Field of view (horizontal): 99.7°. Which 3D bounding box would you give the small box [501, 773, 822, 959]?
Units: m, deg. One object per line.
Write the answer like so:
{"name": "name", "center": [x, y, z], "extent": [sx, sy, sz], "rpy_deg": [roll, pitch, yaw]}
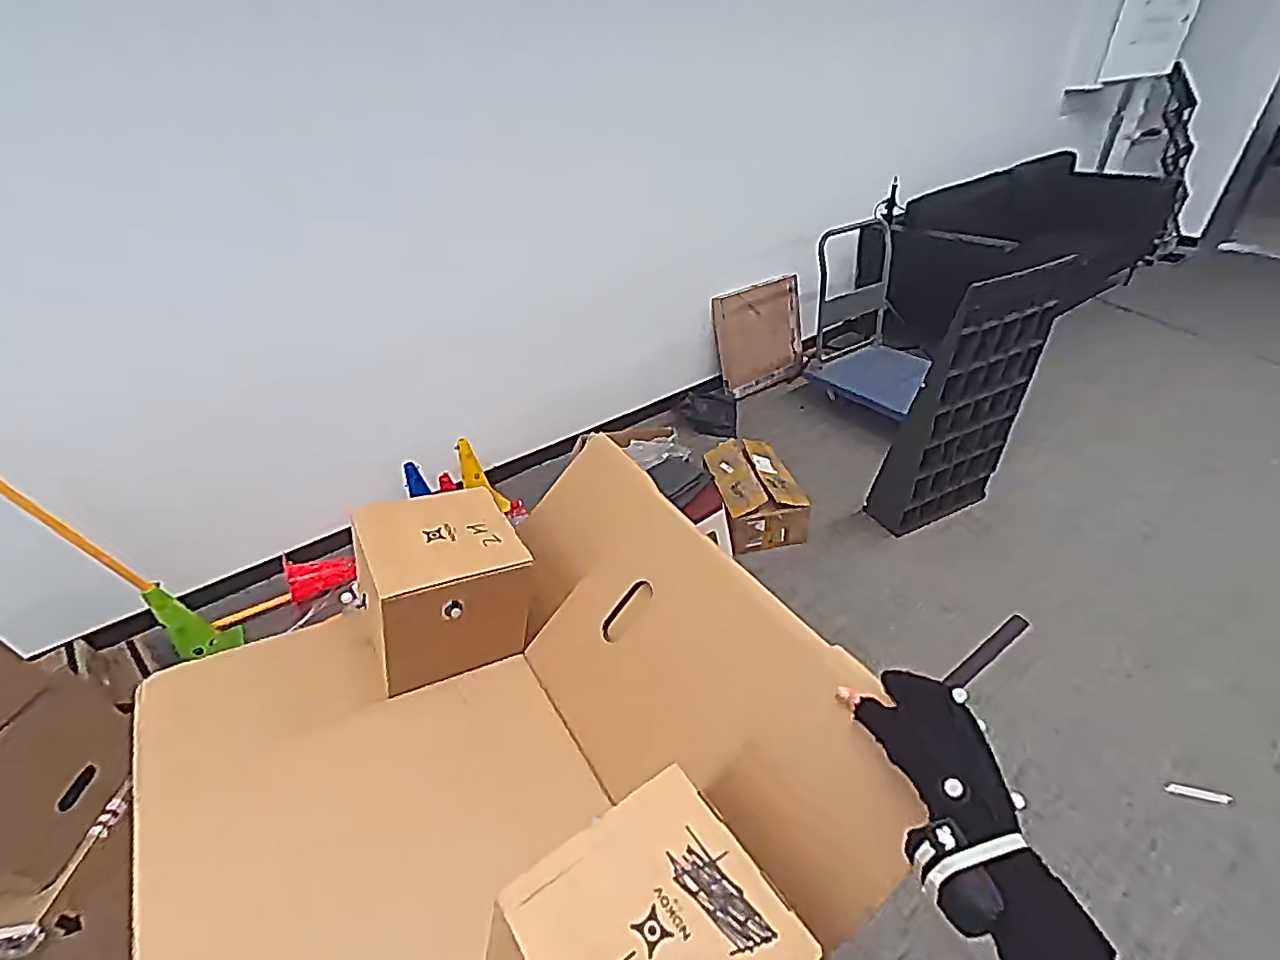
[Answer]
{"name": "small box", "center": [0.002, 0.383, 0.423], "extent": [0.179, 0.176, 0.168], "rpy_deg": [-16, 43, -36]}

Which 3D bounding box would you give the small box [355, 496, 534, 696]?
{"name": "small box", "center": [-0.254, 0.146, 0.702], "extent": [0.179, 0.176, 0.168], "rpy_deg": [-10, 39, -33]}
